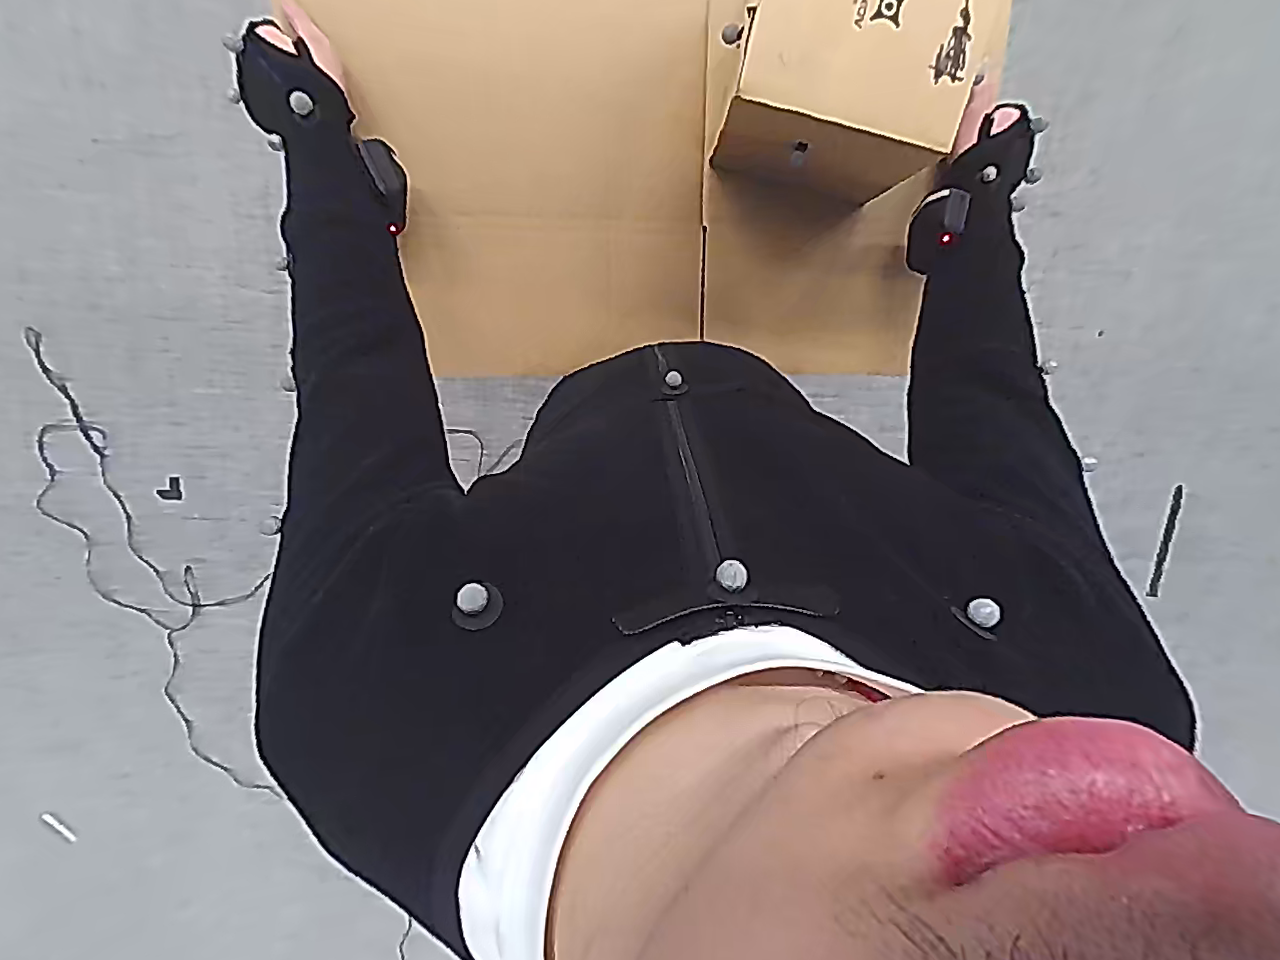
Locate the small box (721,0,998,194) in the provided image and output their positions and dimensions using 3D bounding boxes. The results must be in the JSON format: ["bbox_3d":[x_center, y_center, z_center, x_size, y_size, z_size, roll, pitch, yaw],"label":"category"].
[{"bbox_3d":[0.179,-0.376,0.478,0.179,0.176,0.168,13,105,-2],"label":"small box"}]
